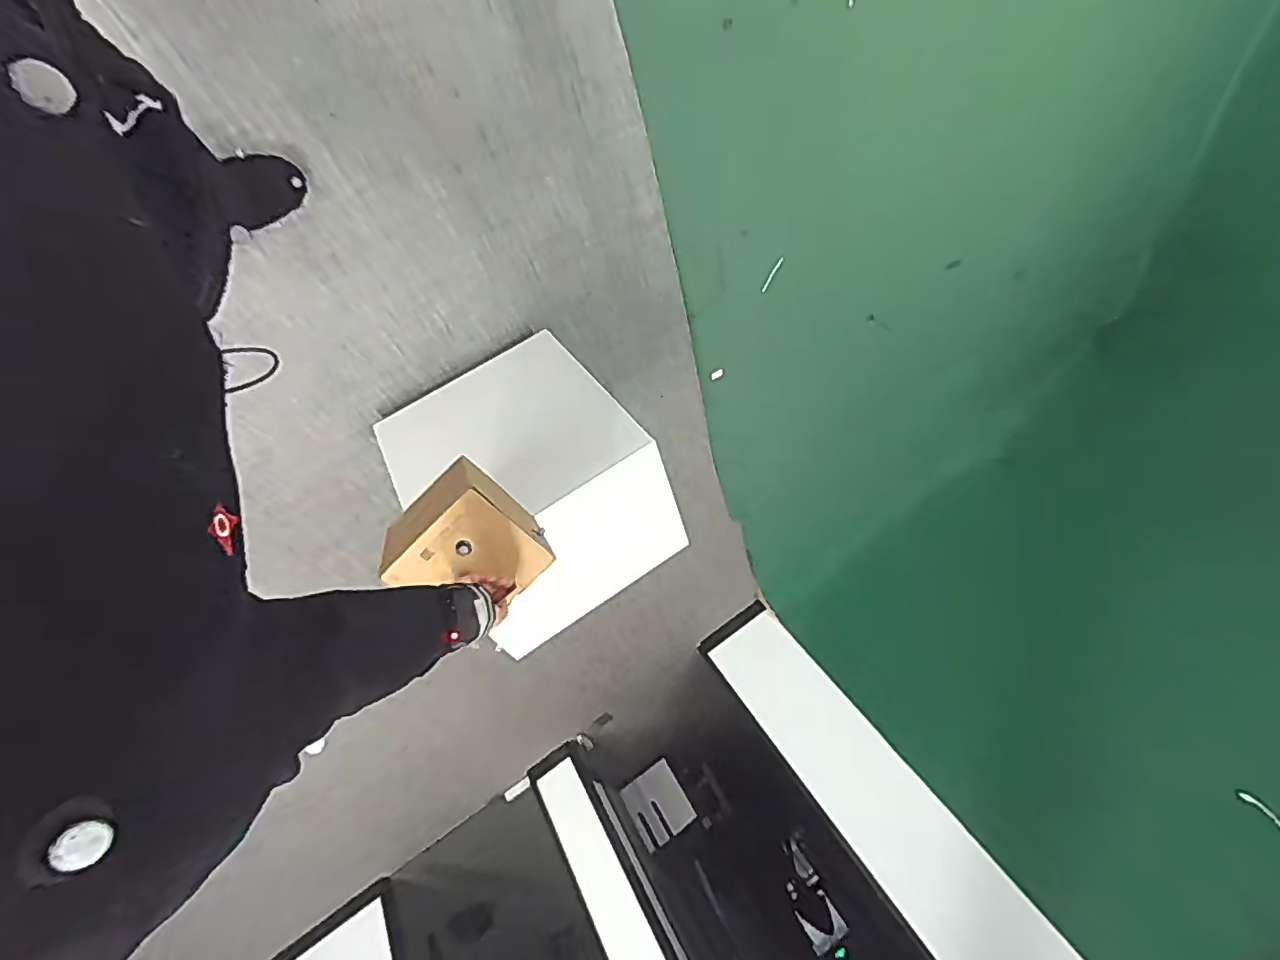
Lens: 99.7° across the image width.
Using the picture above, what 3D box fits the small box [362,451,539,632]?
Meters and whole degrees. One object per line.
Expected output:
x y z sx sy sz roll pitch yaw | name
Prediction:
-0.280 0.080 0.797 0.168 0.179 0.176 -45 119 -2 | small box
